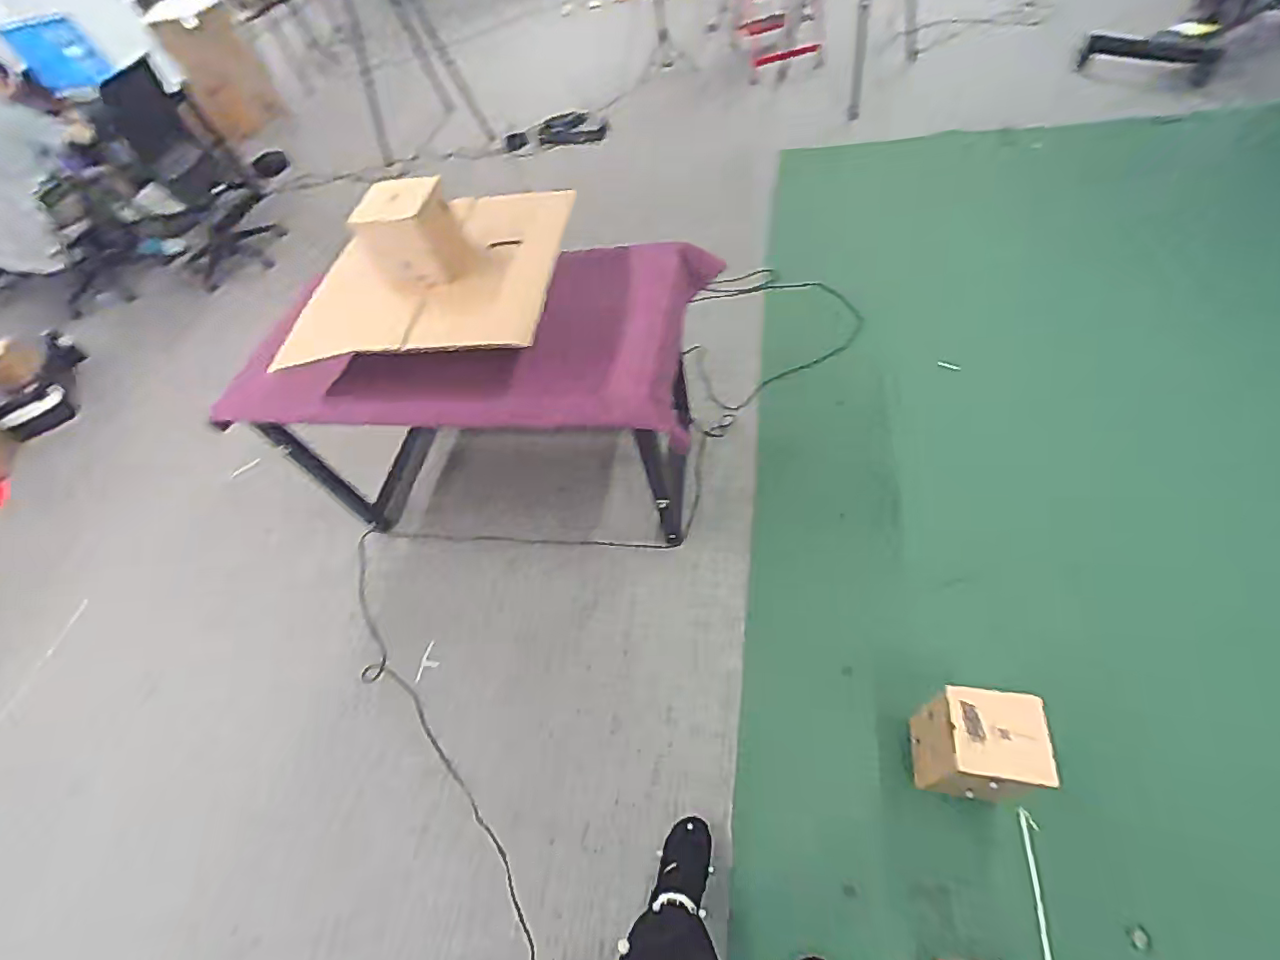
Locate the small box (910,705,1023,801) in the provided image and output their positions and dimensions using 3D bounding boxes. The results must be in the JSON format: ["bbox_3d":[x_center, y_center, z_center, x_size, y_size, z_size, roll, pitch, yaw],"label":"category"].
[{"bbox_3d":[0.756,0.644,1.270,0.179,0.176,0.168,3,56,14],"label":"small box"}]

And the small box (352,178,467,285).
[{"bbox_3d":[-0.532,-0.586,1.282,0.168,0.176,0.179,2,56,11],"label":"small box"}]

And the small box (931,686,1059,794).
[{"bbox_3d":[0.729,0.551,1.138,0.179,0.176,0.168,3,56,14],"label":"small box"}]
